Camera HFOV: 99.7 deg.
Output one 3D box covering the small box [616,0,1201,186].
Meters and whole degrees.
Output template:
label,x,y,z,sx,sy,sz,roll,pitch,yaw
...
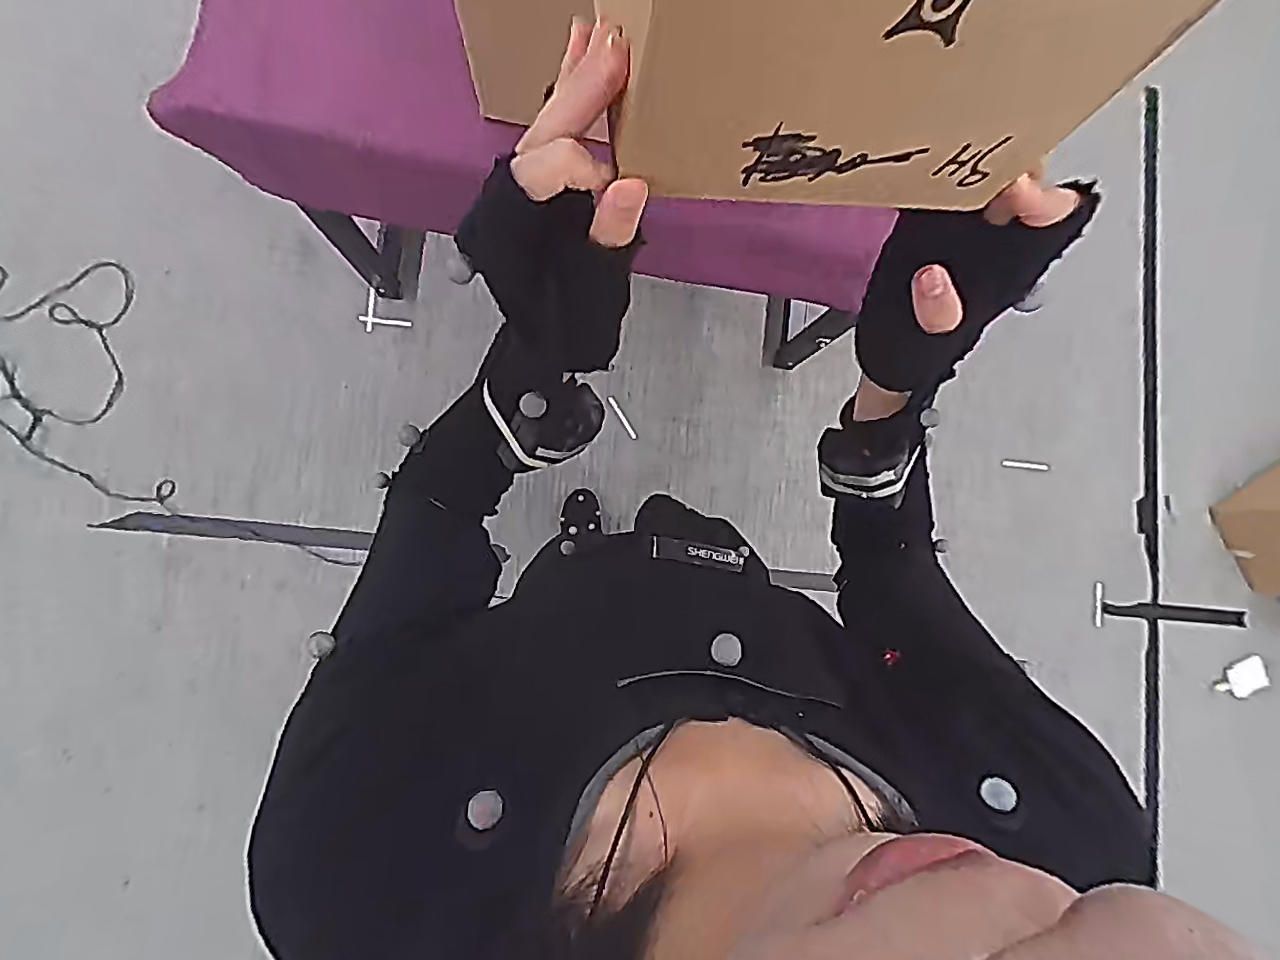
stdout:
label,x,y,z,sx,sy,sz,roll,pitch,yaw
small box,0.079,-0.220,0.150,0.168,0.179,0.176,-3,76,-11
